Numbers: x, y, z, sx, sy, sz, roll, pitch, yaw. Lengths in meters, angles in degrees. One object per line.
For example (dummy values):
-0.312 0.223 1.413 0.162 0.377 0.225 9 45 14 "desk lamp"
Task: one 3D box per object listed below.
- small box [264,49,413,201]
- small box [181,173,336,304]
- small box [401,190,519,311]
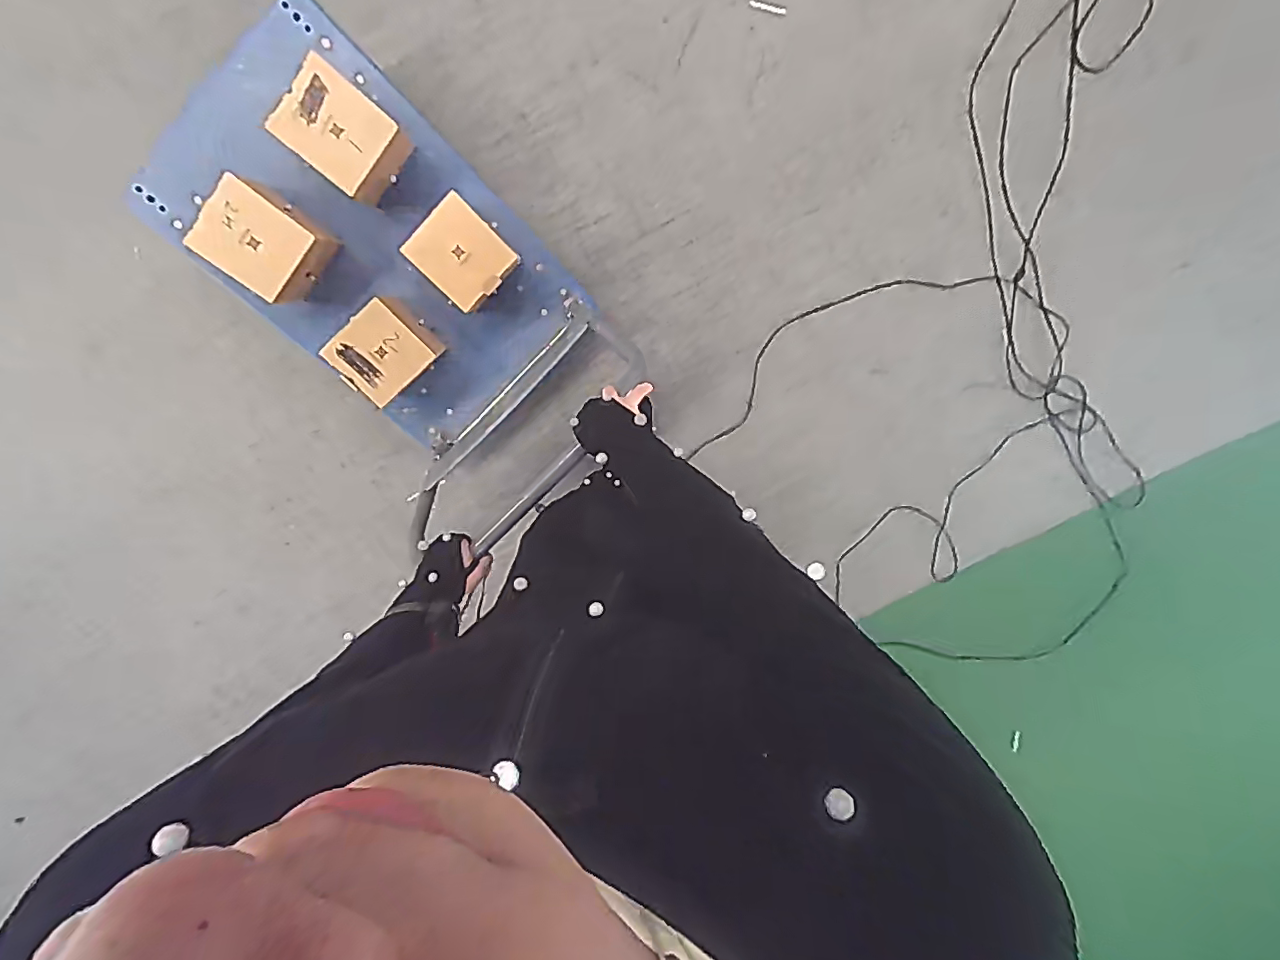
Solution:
-0.583 -0.683 1.070 0.179 0.176 0.168 37 100 -22 "small box"
-0.764 -0.488 1.108 0.179 0.176 0.168 37 99 -22 "small box"
-0.385 -0.494 1.185 0.168 0.176 0.179 -44 113 7 "small box"
